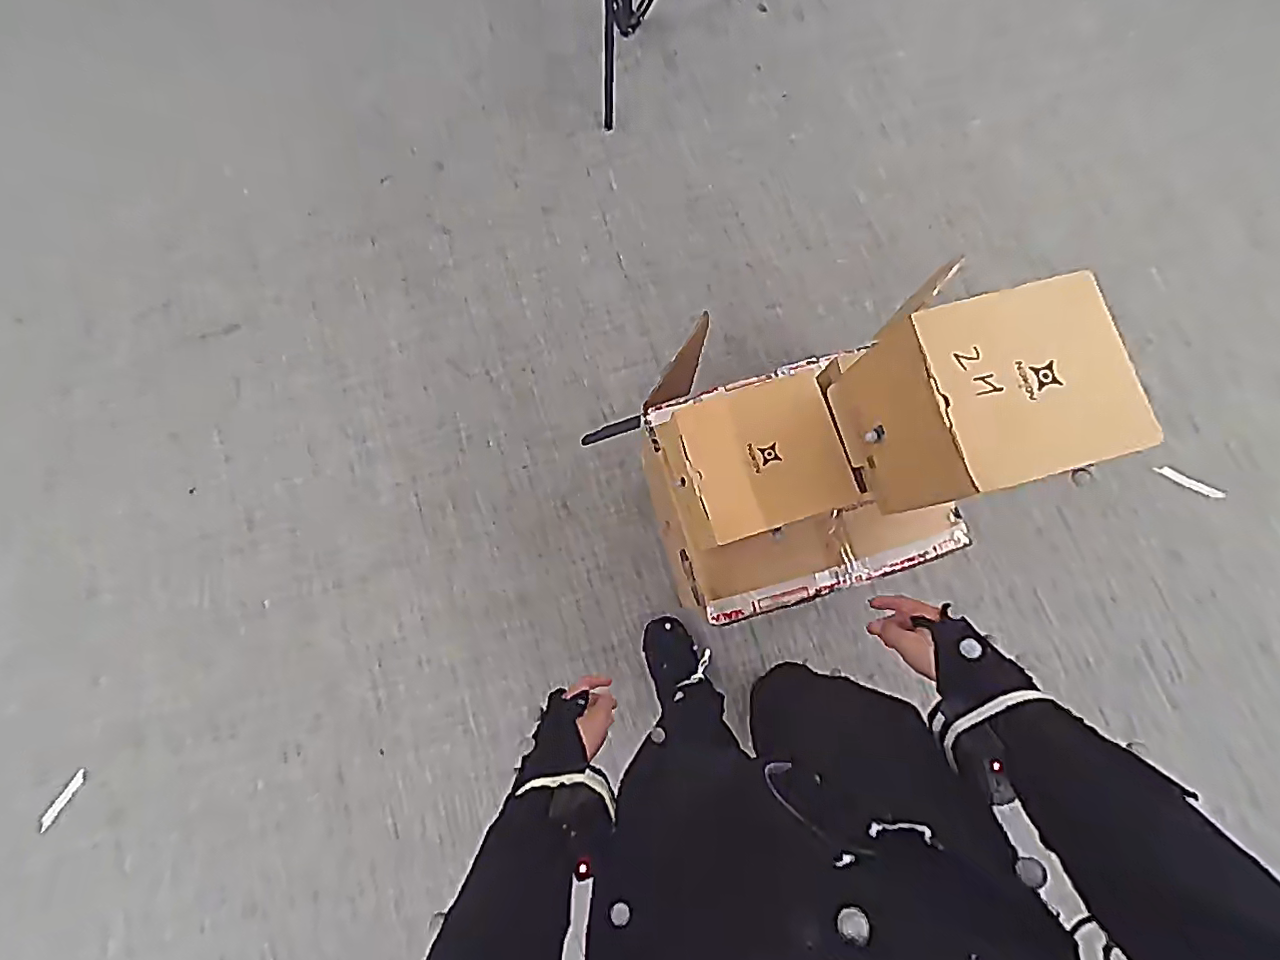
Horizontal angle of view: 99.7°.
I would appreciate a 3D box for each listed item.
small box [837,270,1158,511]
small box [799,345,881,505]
[{"bbox_3d":[0.328,-0.074,0.535,0.179,0.176,0.168,-15,80,-4],"label":"small box"},{"bbox_3d":[0.322,-0.070,0.702,0.179,0.176,0.168,-12,81,-4],"label":"small box"}]
